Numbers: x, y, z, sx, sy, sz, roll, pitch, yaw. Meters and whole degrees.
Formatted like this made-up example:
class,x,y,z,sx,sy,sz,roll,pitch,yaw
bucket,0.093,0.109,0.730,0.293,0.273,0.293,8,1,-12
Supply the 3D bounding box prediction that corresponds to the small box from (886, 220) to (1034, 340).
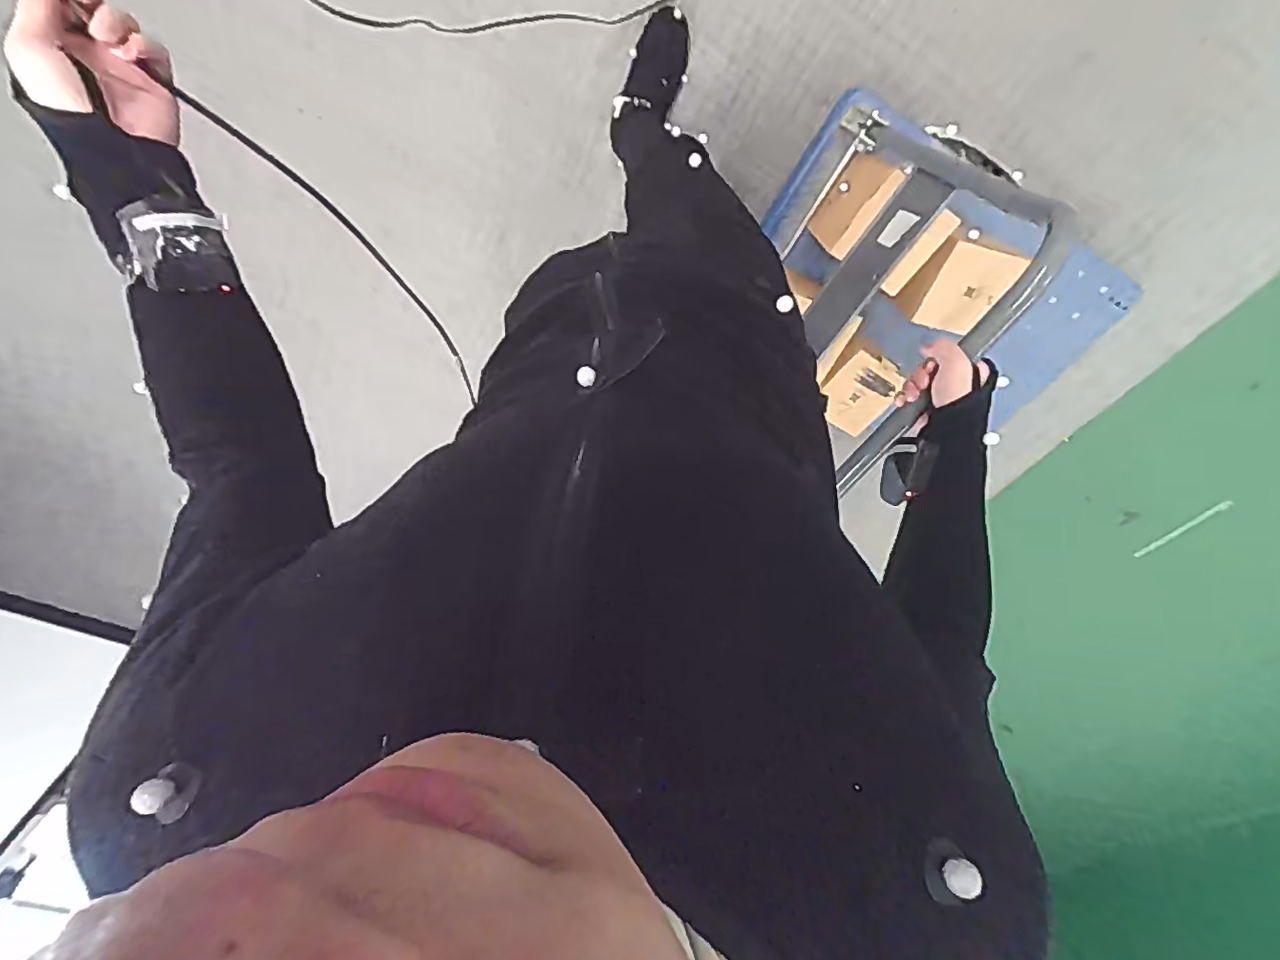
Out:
class,x,y,z,sx,sy,sz,roll,pitch,yaw
small box,0.648,-0.420,1.124,0.179,0.176,0.168,11,130,-10
